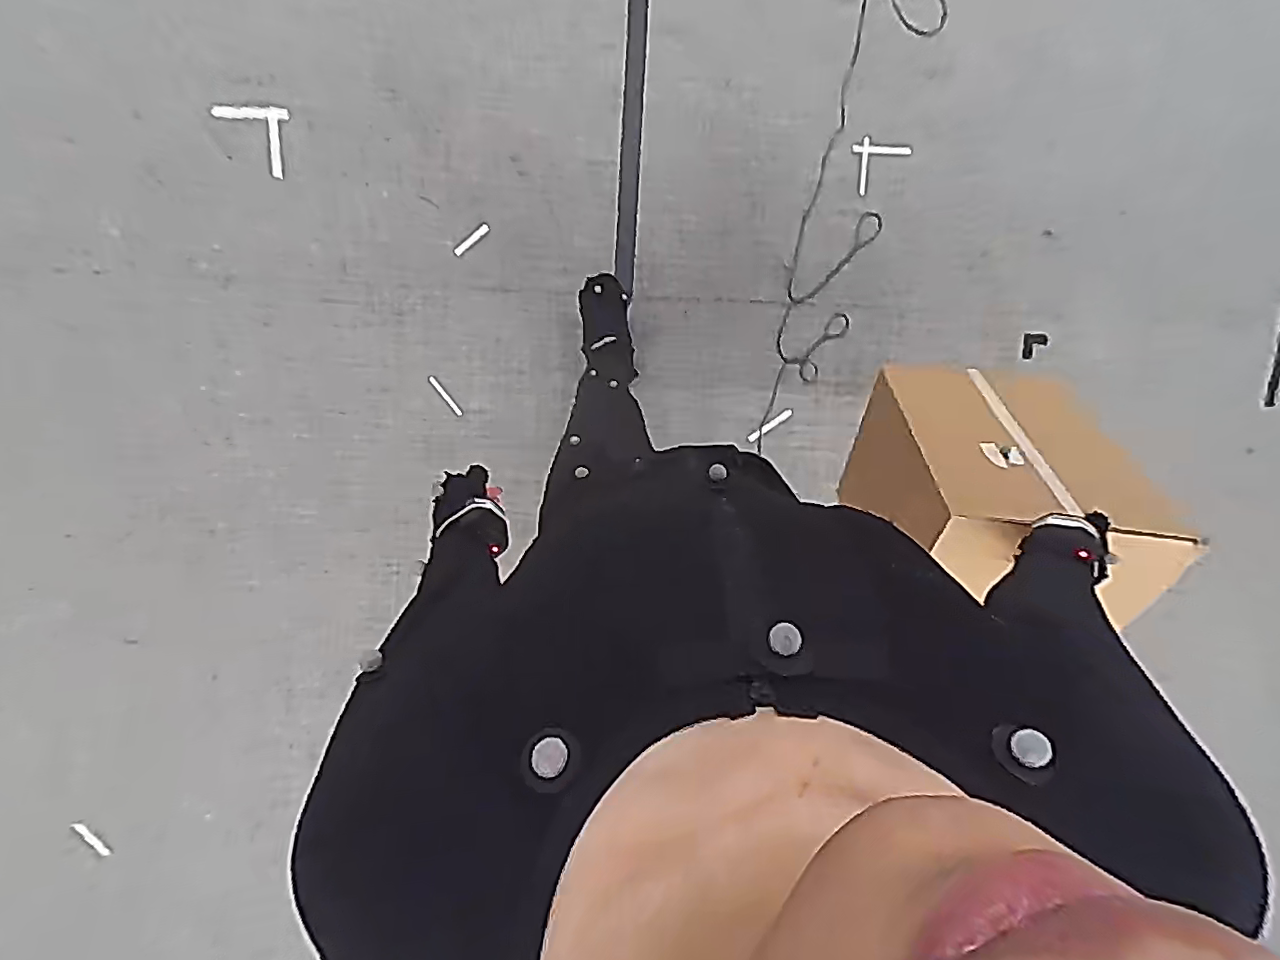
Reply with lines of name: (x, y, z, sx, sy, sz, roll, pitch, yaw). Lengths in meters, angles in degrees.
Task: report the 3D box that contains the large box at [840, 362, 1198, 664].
large box: (0.570, 0.043, 0.934, 0.320, 0.408, 0.320, 6, 132, 4)
